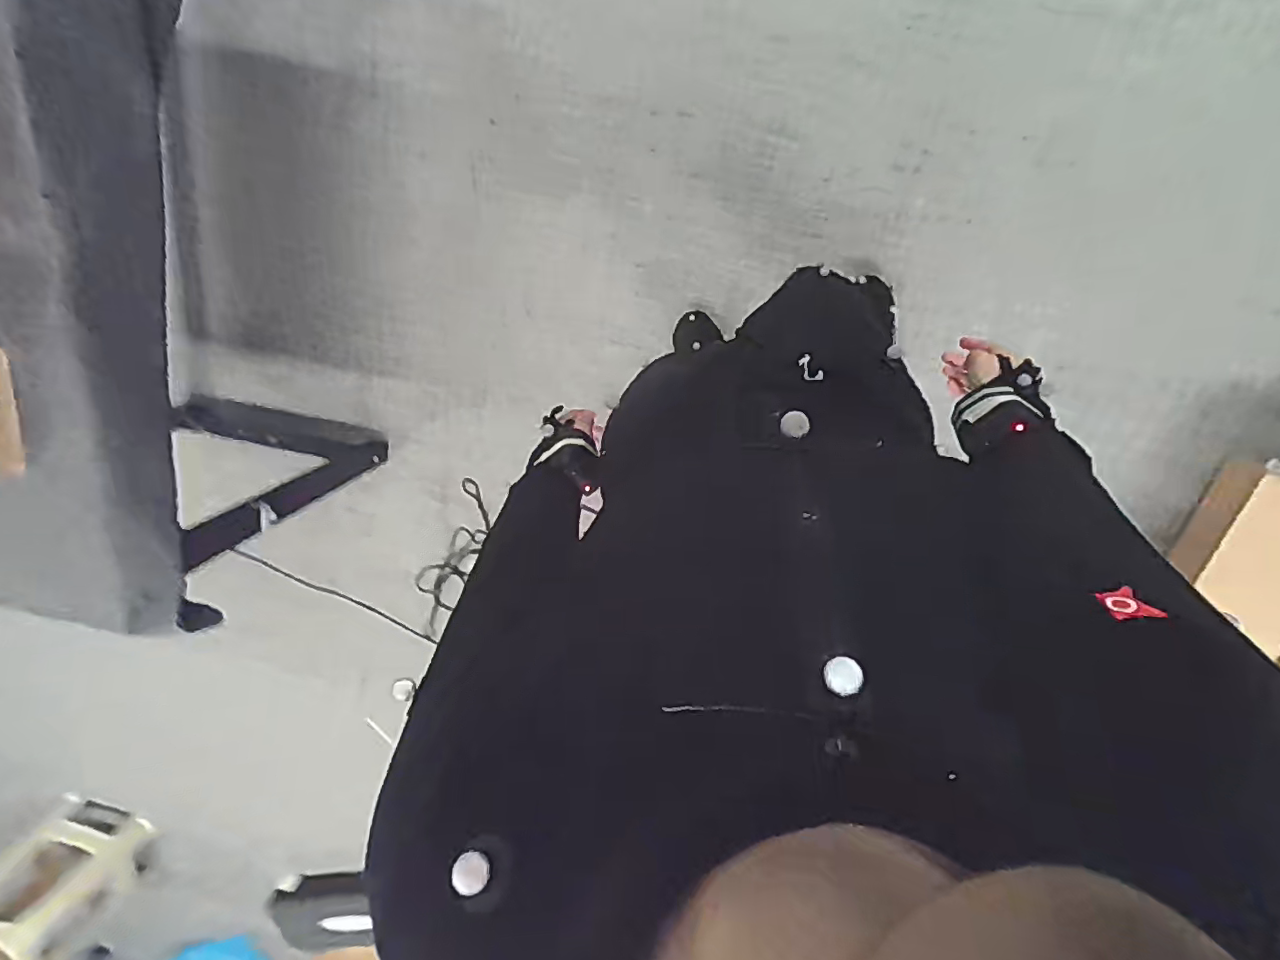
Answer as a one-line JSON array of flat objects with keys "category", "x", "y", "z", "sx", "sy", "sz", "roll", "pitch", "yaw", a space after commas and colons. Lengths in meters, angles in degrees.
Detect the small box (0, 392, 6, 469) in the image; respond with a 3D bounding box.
[{"category": "small box", "x": -0.854, "y": -0.073, "z": 0.581, "sx": 0.179, "sy": 0.176, "sz": 0.168, "roll": 14, "pitch": 110, "yaw": 2}]
